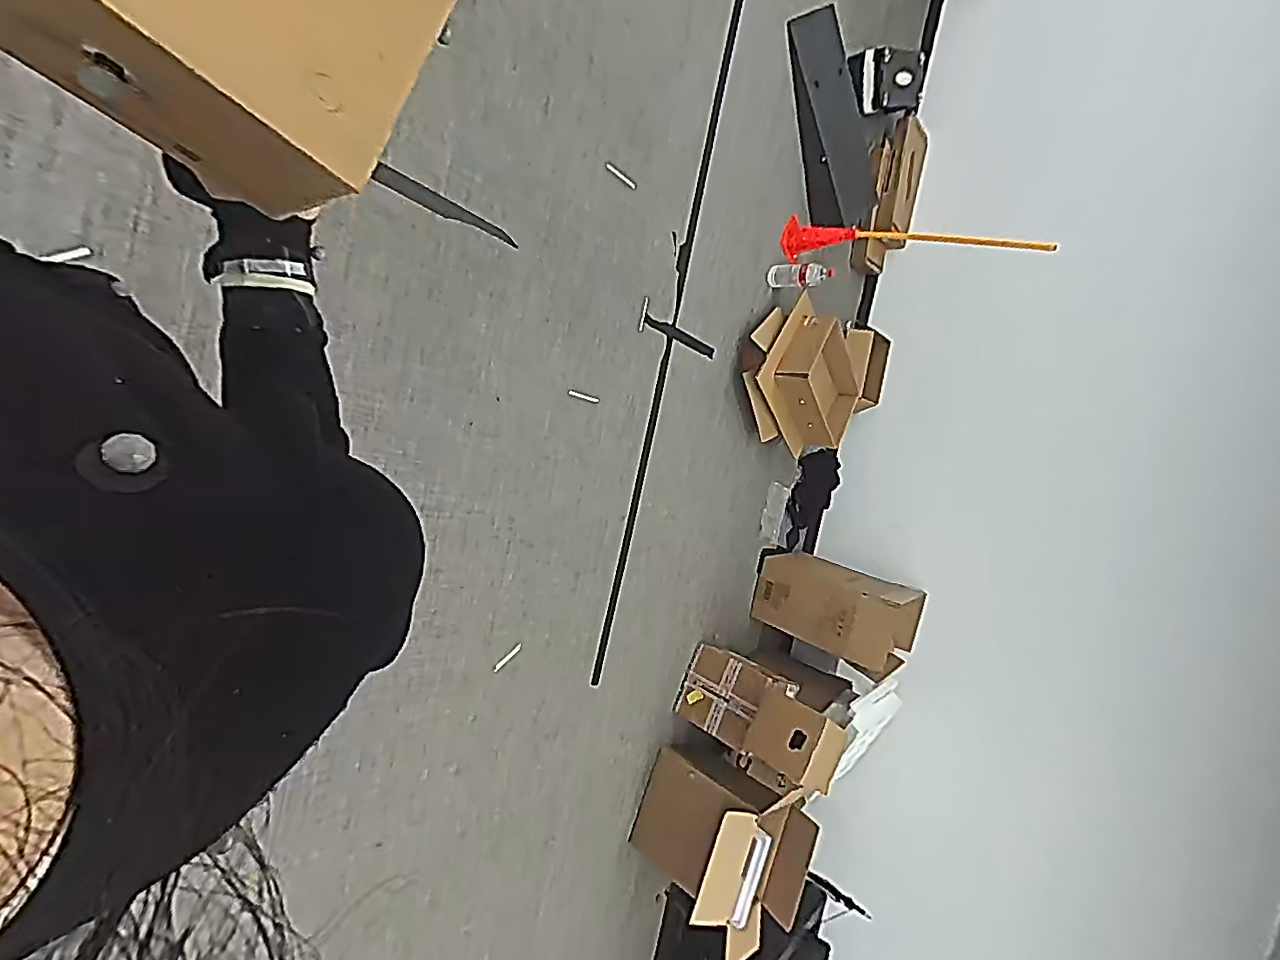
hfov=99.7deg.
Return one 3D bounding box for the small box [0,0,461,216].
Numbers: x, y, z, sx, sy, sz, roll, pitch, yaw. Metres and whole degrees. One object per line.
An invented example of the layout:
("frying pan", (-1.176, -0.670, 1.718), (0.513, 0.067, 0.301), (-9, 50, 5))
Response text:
("small box", (-0.233, -0.284, 0.314), (0.168, 0.176, 0.179), (28, 79, -49))
